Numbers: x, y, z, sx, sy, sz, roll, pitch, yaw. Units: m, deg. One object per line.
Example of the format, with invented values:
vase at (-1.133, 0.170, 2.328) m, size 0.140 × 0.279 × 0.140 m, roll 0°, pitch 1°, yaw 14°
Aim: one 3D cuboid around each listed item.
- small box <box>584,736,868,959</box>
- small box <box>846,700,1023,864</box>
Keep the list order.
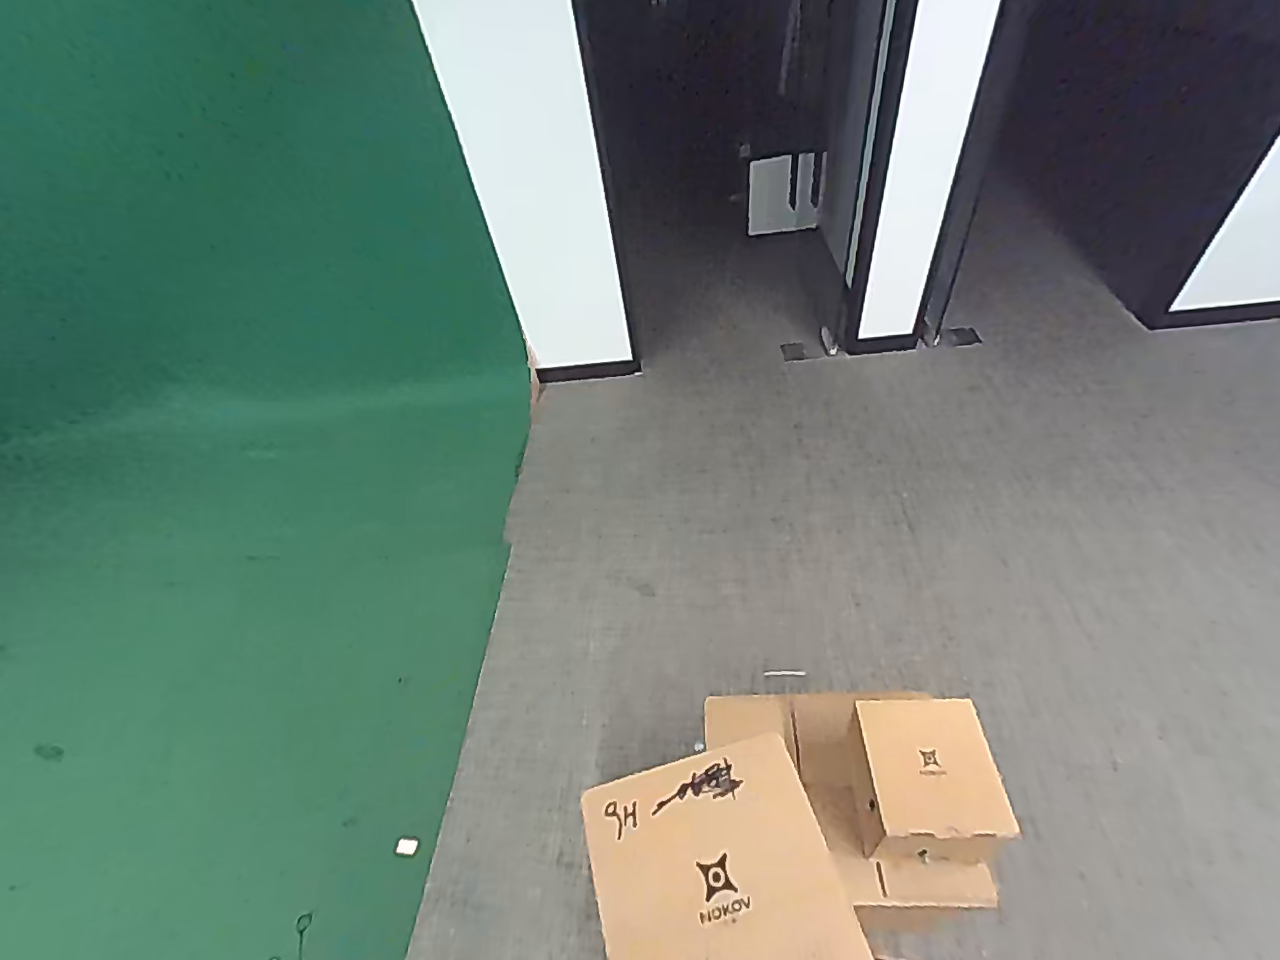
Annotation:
small box at (0.063, 0.336, 0.433) m, size 0.168 × 0.176 × 0.179 m, roll -15°, pitch 50°, yaw -5°
small box at (0.413, 0.445, 0.798) m, size 0.168 × 0.176 × 0.179 m, roll -5°, pitch 47°, yaw 8°
